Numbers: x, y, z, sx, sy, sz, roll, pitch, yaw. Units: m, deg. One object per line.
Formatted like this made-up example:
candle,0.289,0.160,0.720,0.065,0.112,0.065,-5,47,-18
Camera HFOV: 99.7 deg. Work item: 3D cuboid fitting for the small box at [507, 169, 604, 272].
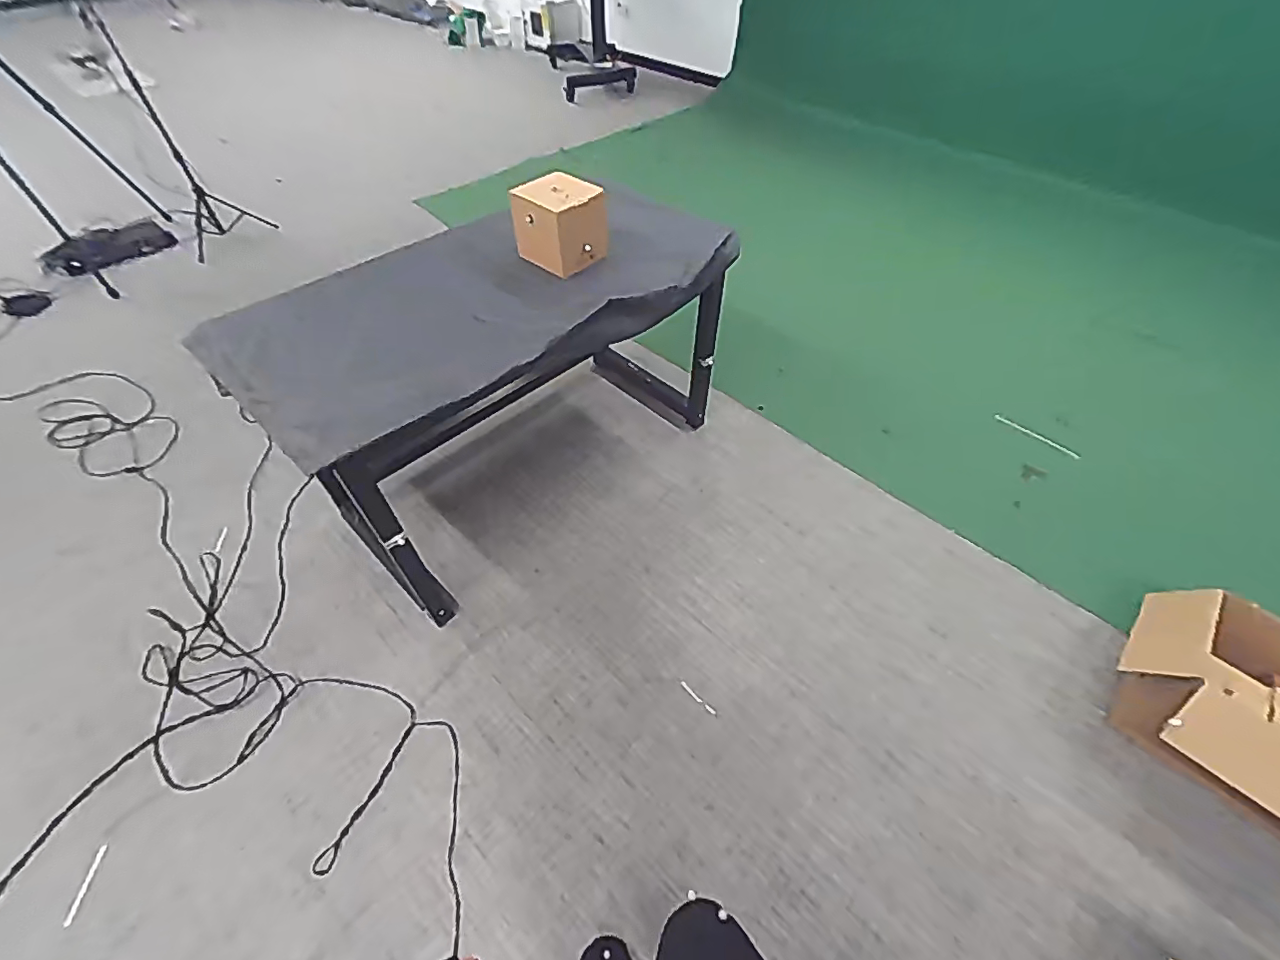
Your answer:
small box,-0.208,-0.657,1.375,0.179,0.176,0.168,35,58,24
